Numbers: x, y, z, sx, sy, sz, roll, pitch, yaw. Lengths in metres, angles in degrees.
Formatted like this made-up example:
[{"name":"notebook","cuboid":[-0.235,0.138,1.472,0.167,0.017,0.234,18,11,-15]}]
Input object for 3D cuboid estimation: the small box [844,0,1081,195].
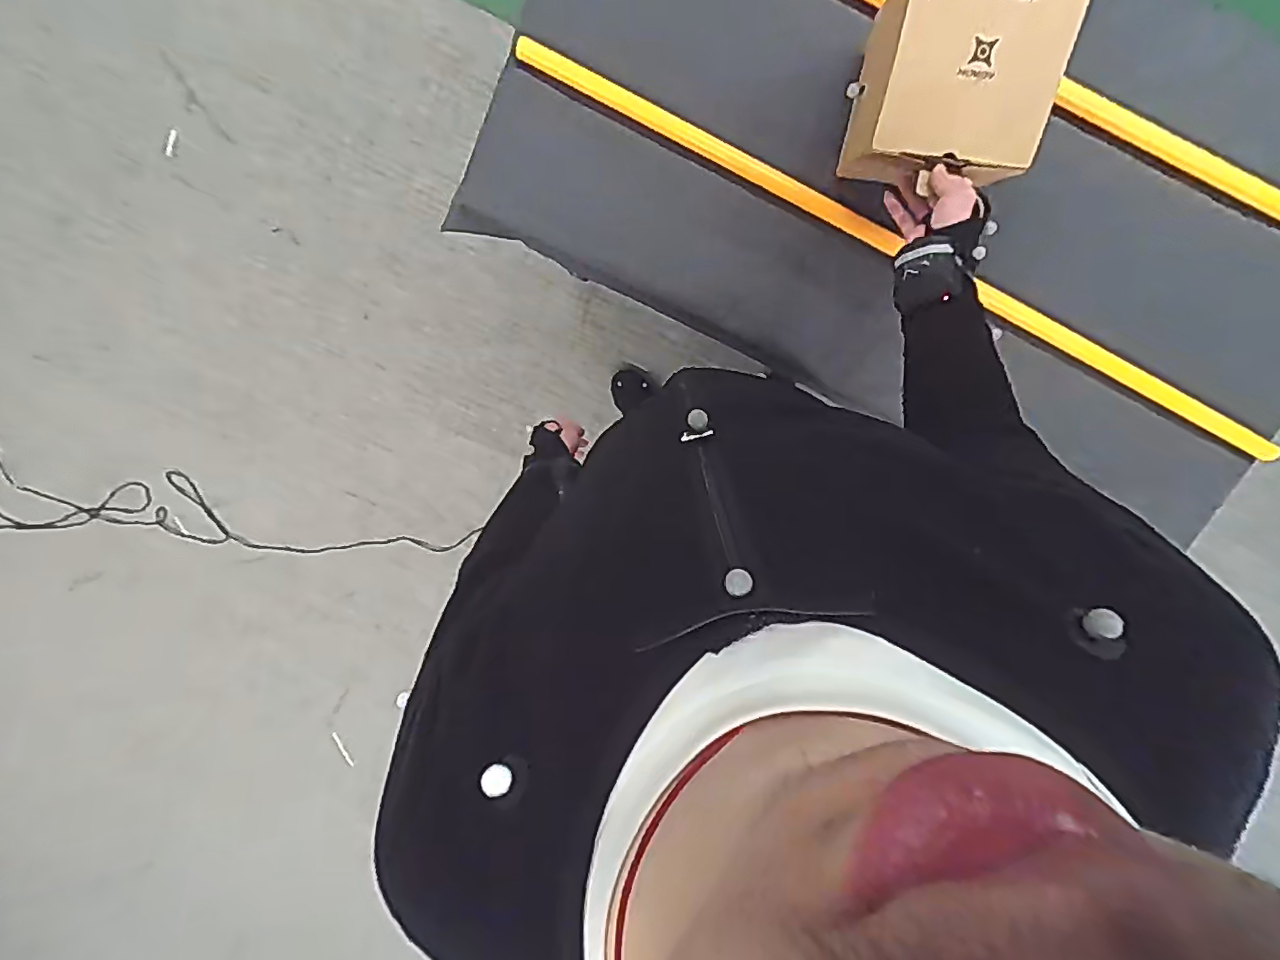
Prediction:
[{"name":"small box","cuboid":[0.346,-0.438,0.622,0.168,0.176,0.179,8,112,6]}]
